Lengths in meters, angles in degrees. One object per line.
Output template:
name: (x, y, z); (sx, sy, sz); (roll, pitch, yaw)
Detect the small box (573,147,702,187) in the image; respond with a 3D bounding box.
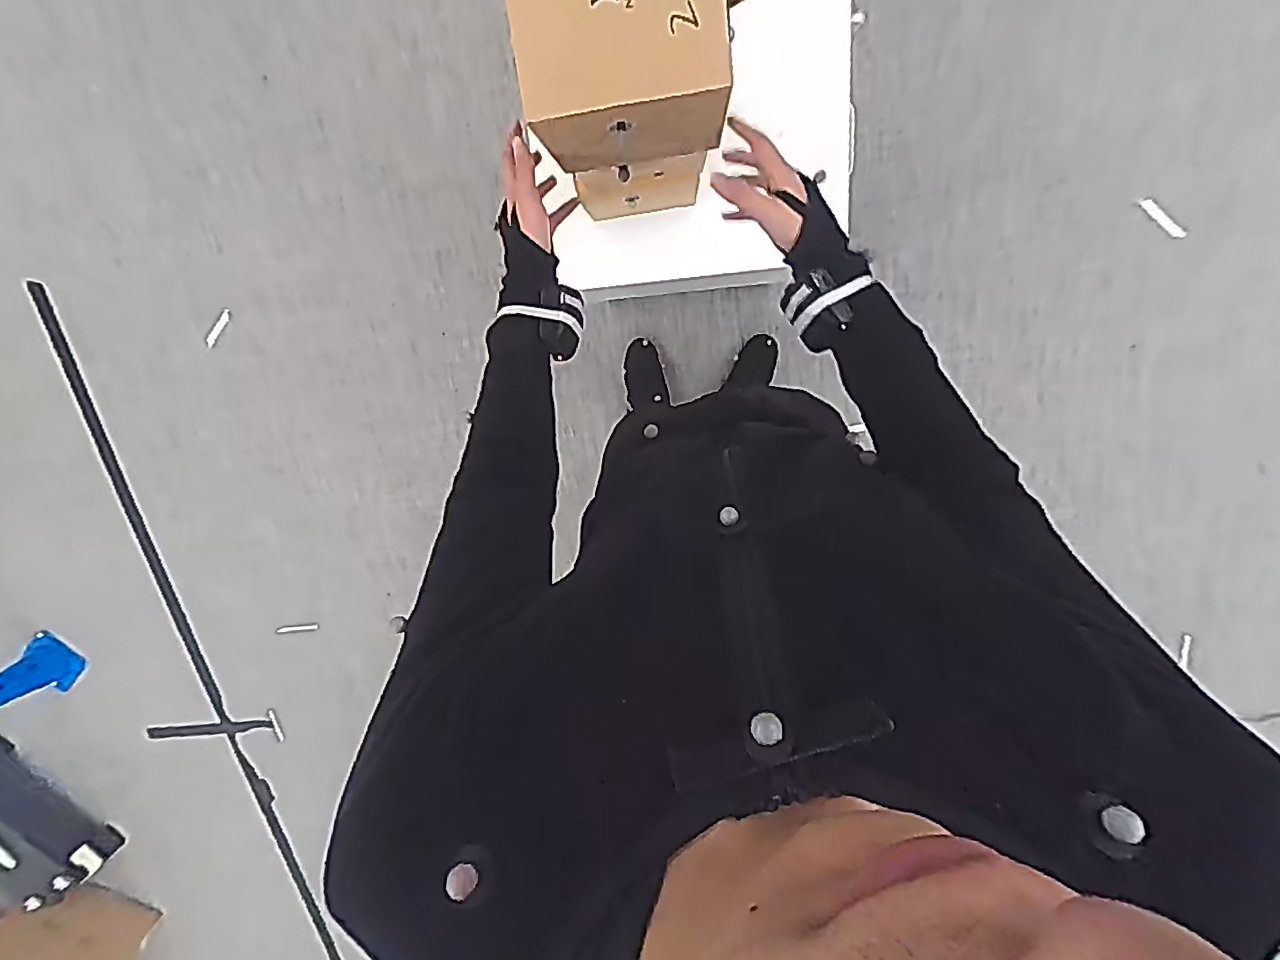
small box: (-0.012, -0.472, 0.654); (0.168, 0.176, 0.179); (-6, 105, 5)

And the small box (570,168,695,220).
small box: (-0.013, -0.504, 0.814); (0.179, 0.176, 0.168); (-7, 106, 5)

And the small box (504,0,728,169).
small box: (-0.017, -0.408, 0.501); (0.179, 0.176, 0.168); (-6, 106, 5)
